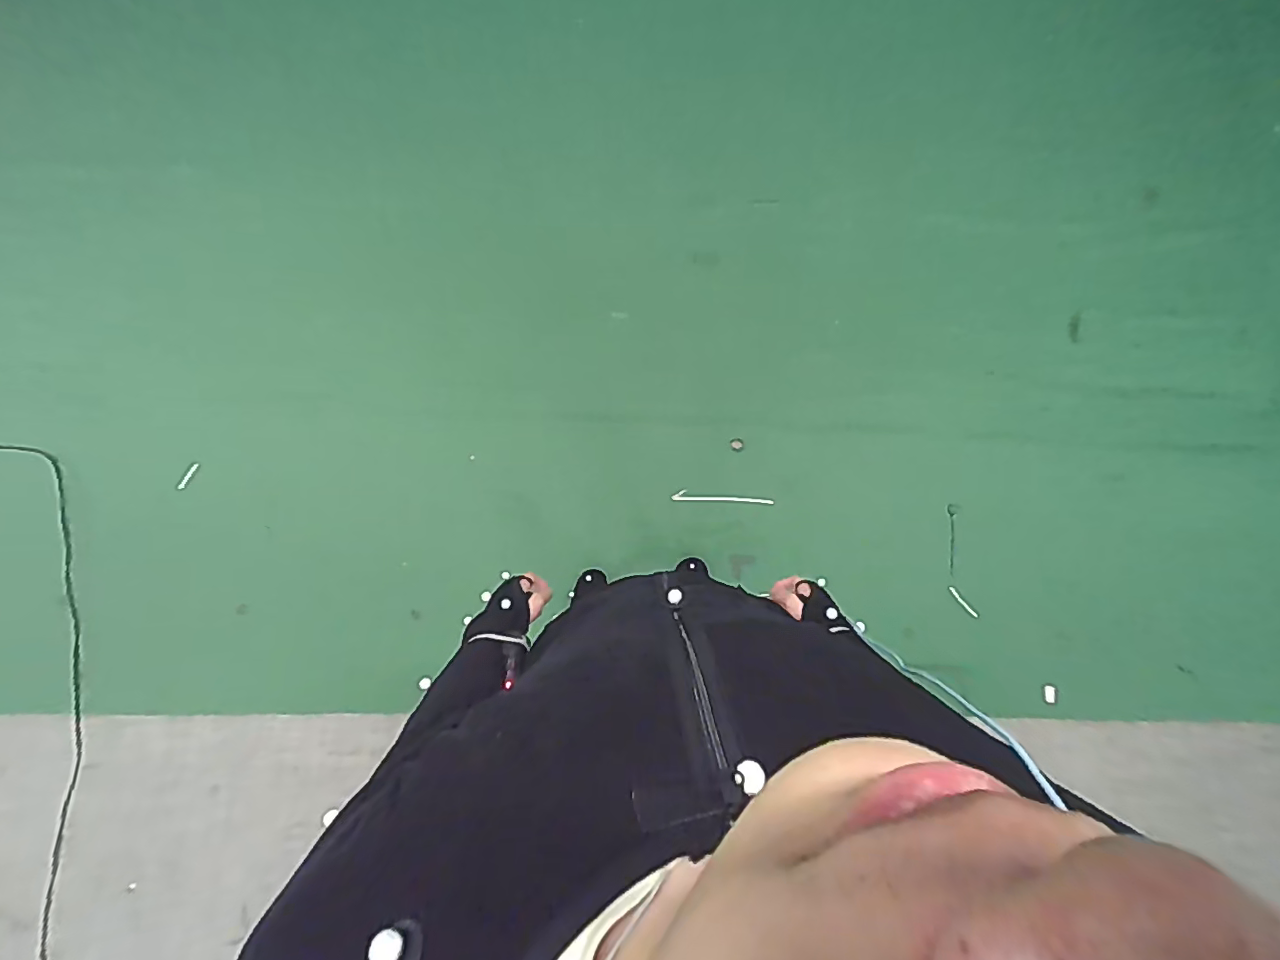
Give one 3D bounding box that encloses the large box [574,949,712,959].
[{"bbox_3d":[0.007,1.426,1.317,0.408,0.320,0.320,0,81,-4],"label":"large box"}]
